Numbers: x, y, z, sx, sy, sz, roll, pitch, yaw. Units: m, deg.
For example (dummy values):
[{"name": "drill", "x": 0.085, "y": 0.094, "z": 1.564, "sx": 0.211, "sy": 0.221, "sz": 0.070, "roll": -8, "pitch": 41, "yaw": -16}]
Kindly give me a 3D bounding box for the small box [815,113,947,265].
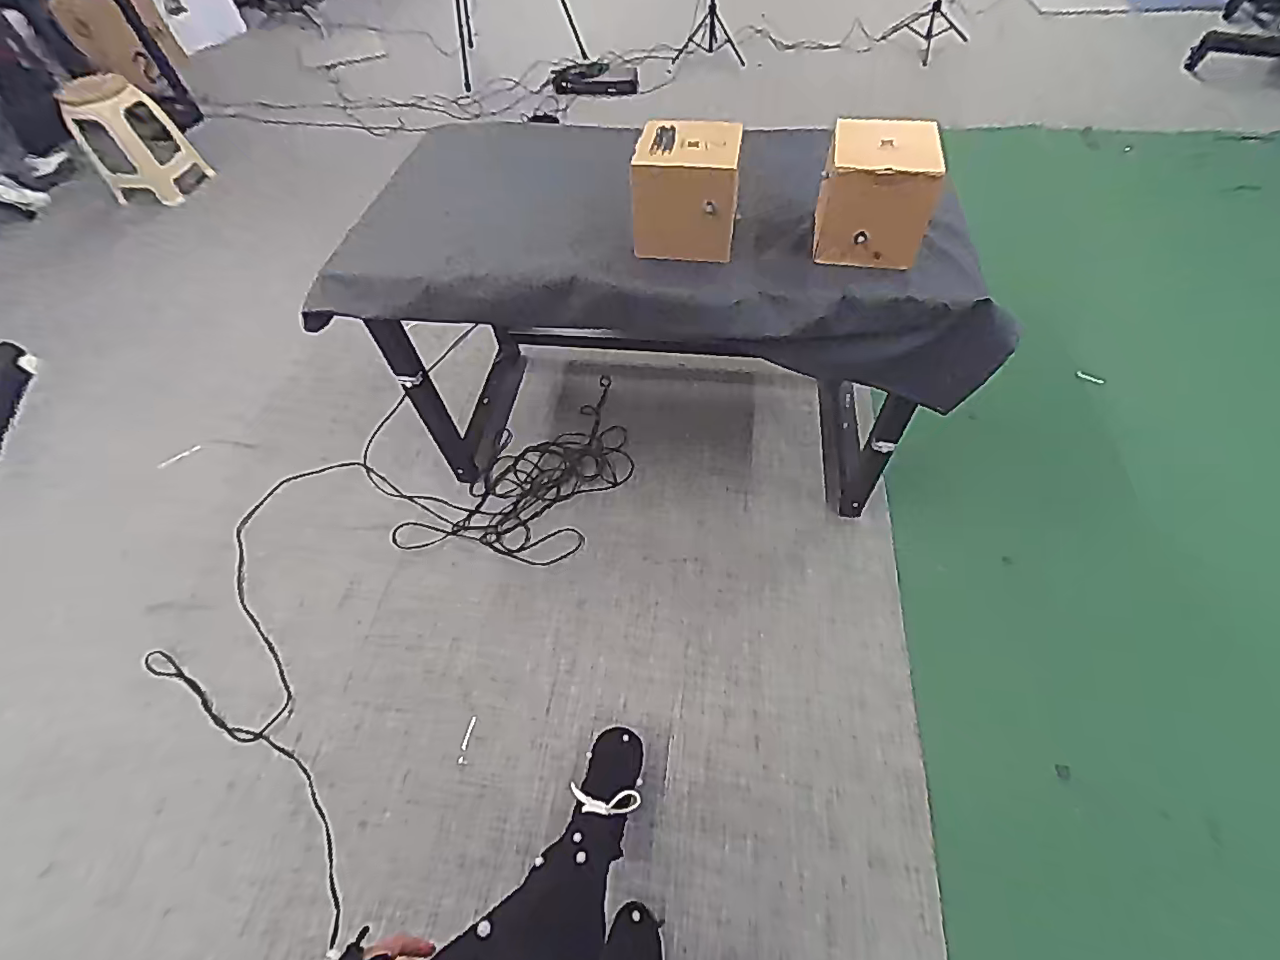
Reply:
[{"name": "small box", "x": 0.406, "y": -0.503, "z": 0.938, "sx": 0.168, "sy": 0.176, "sz": 0.179, "roll": 8, "pitch": 57, "yaw": 9}]
